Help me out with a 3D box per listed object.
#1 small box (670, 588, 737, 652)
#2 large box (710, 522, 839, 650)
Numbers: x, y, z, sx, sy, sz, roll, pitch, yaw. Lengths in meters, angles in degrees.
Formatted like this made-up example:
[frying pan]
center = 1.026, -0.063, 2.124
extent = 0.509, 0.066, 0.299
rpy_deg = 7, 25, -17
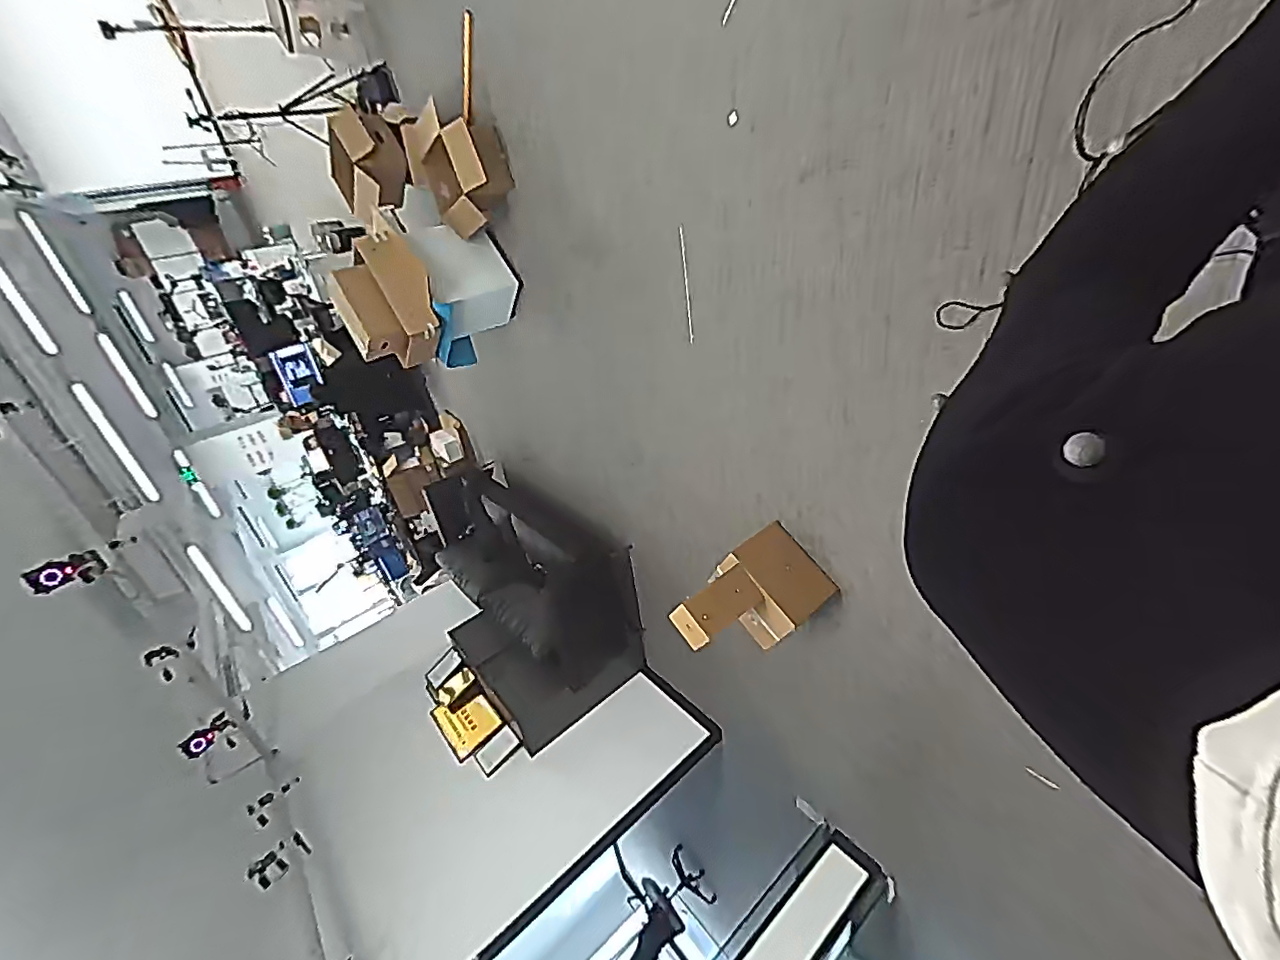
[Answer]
[small box]
center = 0.258, 0.561, 2.200
extent = 0.179, 0.176, 0.168
rpy_deg = 50, 147, 15
[large box]
center = 0.594, 0.472, 2.432
extent = 0.408, 0.320, 0.320
rpy_deg = 48, 149, 19
